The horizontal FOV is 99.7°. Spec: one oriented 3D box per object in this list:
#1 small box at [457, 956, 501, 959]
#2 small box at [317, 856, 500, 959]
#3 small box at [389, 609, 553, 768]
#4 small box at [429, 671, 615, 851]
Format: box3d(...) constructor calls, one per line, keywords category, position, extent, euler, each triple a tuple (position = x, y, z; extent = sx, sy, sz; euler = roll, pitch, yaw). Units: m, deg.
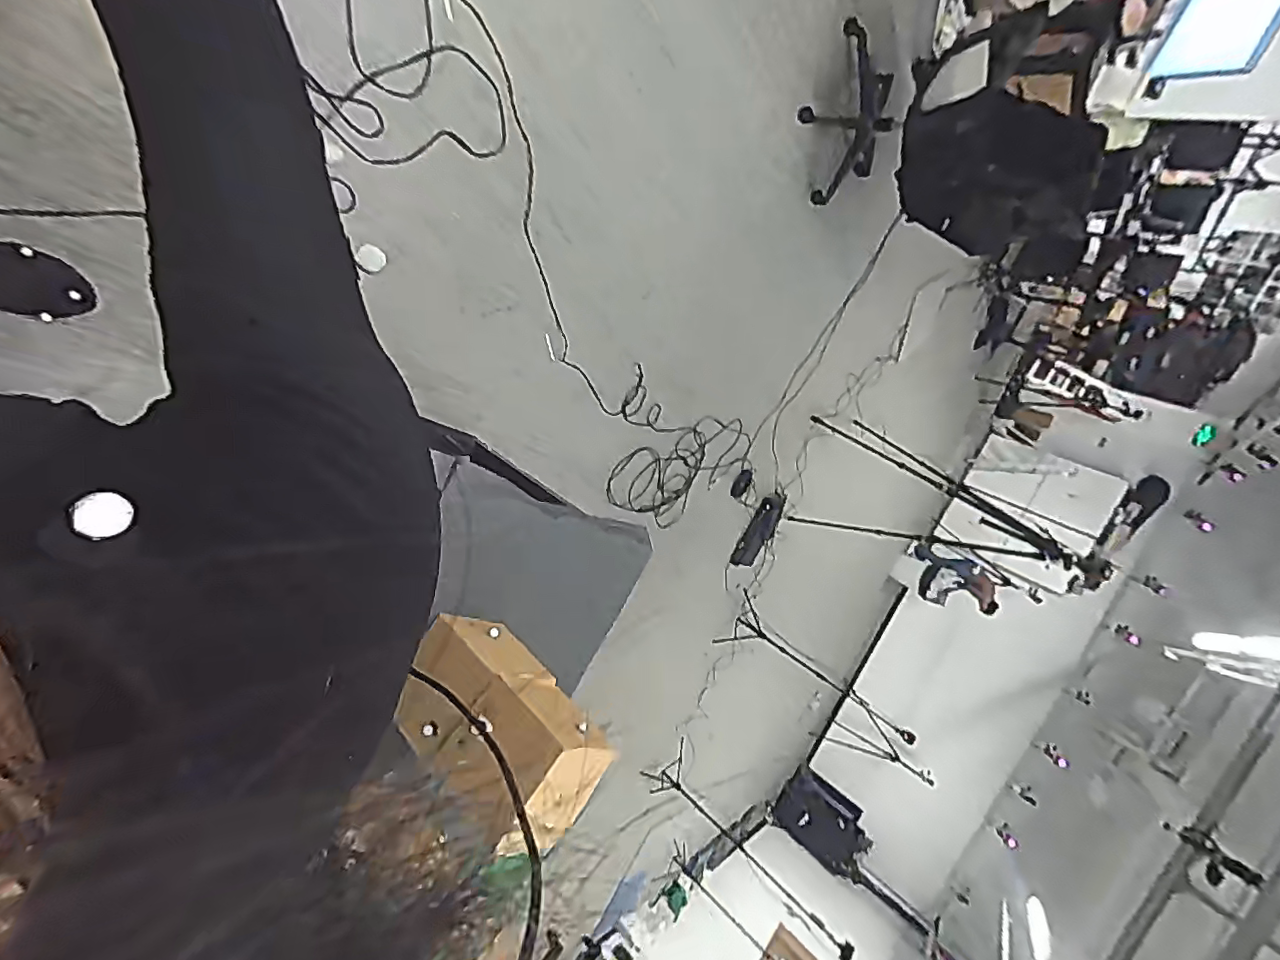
box3d(category="small box", position=(-0.236, 0.788, 0.725), extent=(0.179, 0.176, 0.168), euler=(-44, 143, -20))
box3d(category="small box", position=(-0.352, 0.721, 0.817), extent=(0.179, 0.176, 0.168), euler=(-43, 143, -23))
box3d(category="small box", position=(-0.289, 0.346, 0.911), extent=(0.179, 0.176, 0.168), euler=(-57, 146, -4))
box3d(category="small box", position=(-0.175, 0.412, 0.816), extent=(0.168, 0.176, 0.179), euler=(-55, 144, -9))
